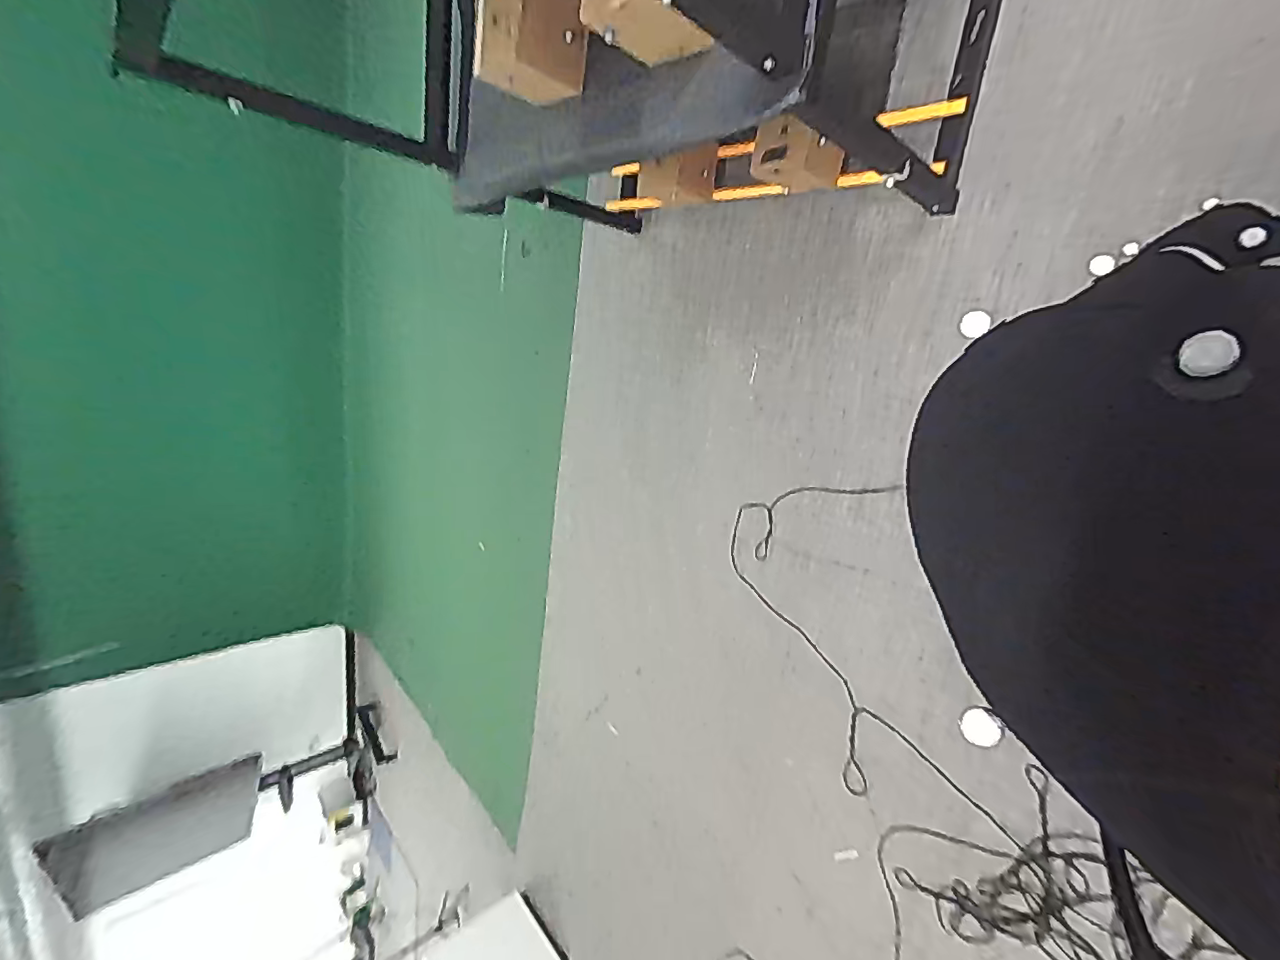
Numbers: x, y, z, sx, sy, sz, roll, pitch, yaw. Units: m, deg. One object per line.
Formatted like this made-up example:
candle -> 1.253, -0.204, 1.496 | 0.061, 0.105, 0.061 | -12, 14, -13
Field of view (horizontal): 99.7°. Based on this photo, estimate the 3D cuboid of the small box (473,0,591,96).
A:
small box -> -0.227, -0.937, 1.133 | 0.179, 0.176, 0.168 | 25, 113, 42

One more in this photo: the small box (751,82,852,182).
small box -> 0.413, -0.872, 1.376 | 0.168, 0.176, 0.179 | 26, 114, 41
